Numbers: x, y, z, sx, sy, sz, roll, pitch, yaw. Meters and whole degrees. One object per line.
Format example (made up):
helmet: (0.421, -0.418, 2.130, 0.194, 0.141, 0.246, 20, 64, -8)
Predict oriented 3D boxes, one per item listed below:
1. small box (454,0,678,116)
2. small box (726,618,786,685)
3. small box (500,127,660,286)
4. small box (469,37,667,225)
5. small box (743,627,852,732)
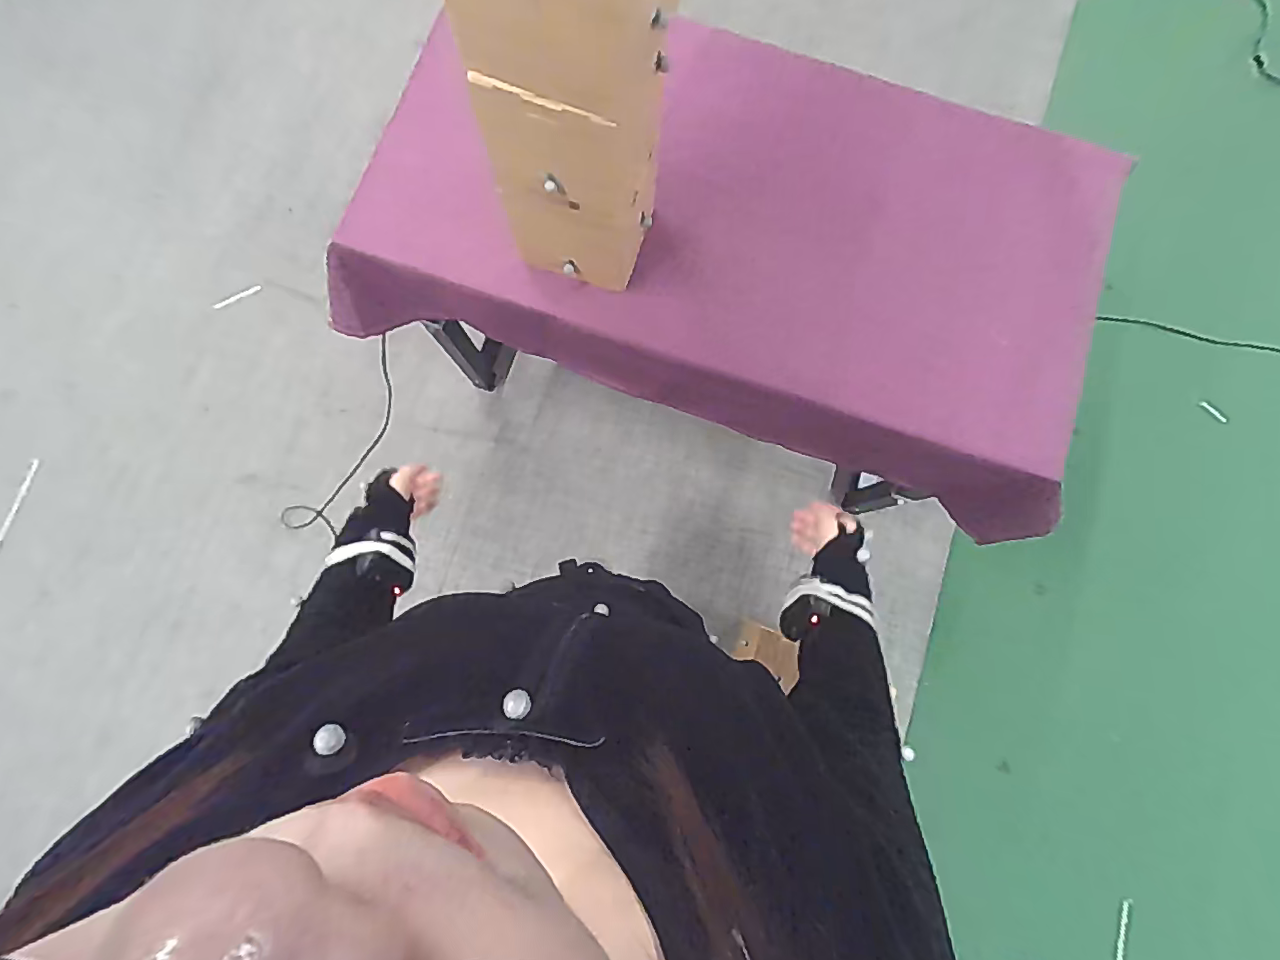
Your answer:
small box: (-0.063, -0.471, 0.476, 0.179, 0.176, 0.168, 21, 81, 0)
small box: (0.343, 0.472, 1.417, 0.179, 0.176, 0.168, 23, 81, 1)
small box: (-0.083, -0.415, 0.801, 0.179, 0.176, 0.168, 17, 80, 0)
small box: (-0.075, -0.446, 0.638, 0.168, 0.176, 0.179, 19, 81, 2)
small box: (0.356, 0.452, 1.256, 0.179, 0.176, 0.168, 20, 82, 0)
